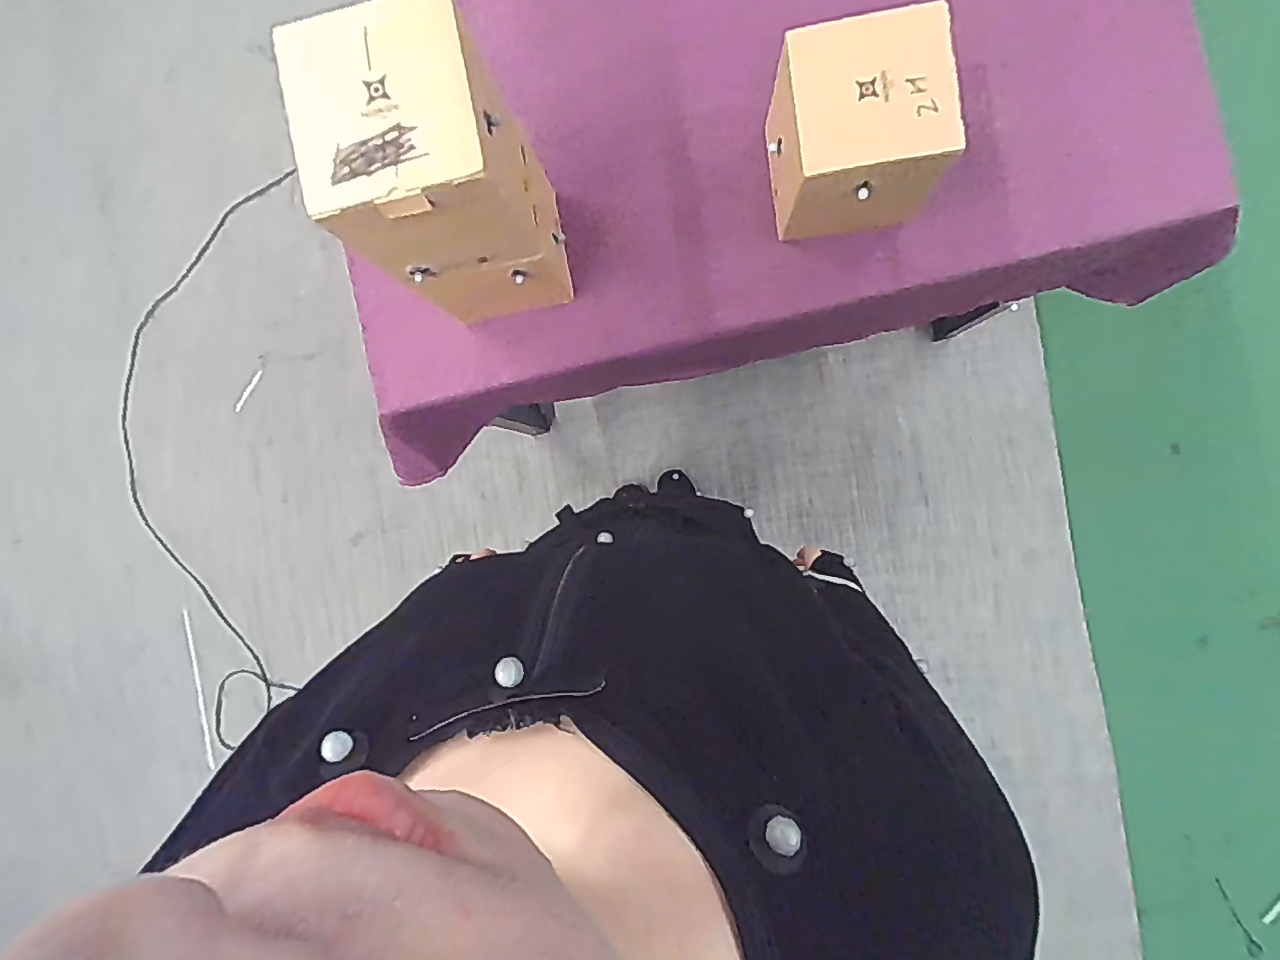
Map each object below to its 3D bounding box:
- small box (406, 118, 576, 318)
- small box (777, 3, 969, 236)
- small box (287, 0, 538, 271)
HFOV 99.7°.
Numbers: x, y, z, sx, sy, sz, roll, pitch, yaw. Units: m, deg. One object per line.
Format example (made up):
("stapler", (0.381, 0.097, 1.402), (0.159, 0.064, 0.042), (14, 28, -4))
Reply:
("small box", (-0.197, -0.330, 0.718), (0.179, 0.176, 0.168), (-10, 89, 5))
("small box", (0.269, -0.423, 0.668), (0.179, 0.176, 0.168), (-6, 90, 6))
("small box", (-0.215, -0.334, 0.555), (0.168, 0.176, 0.179), (-11, 88, 5))
